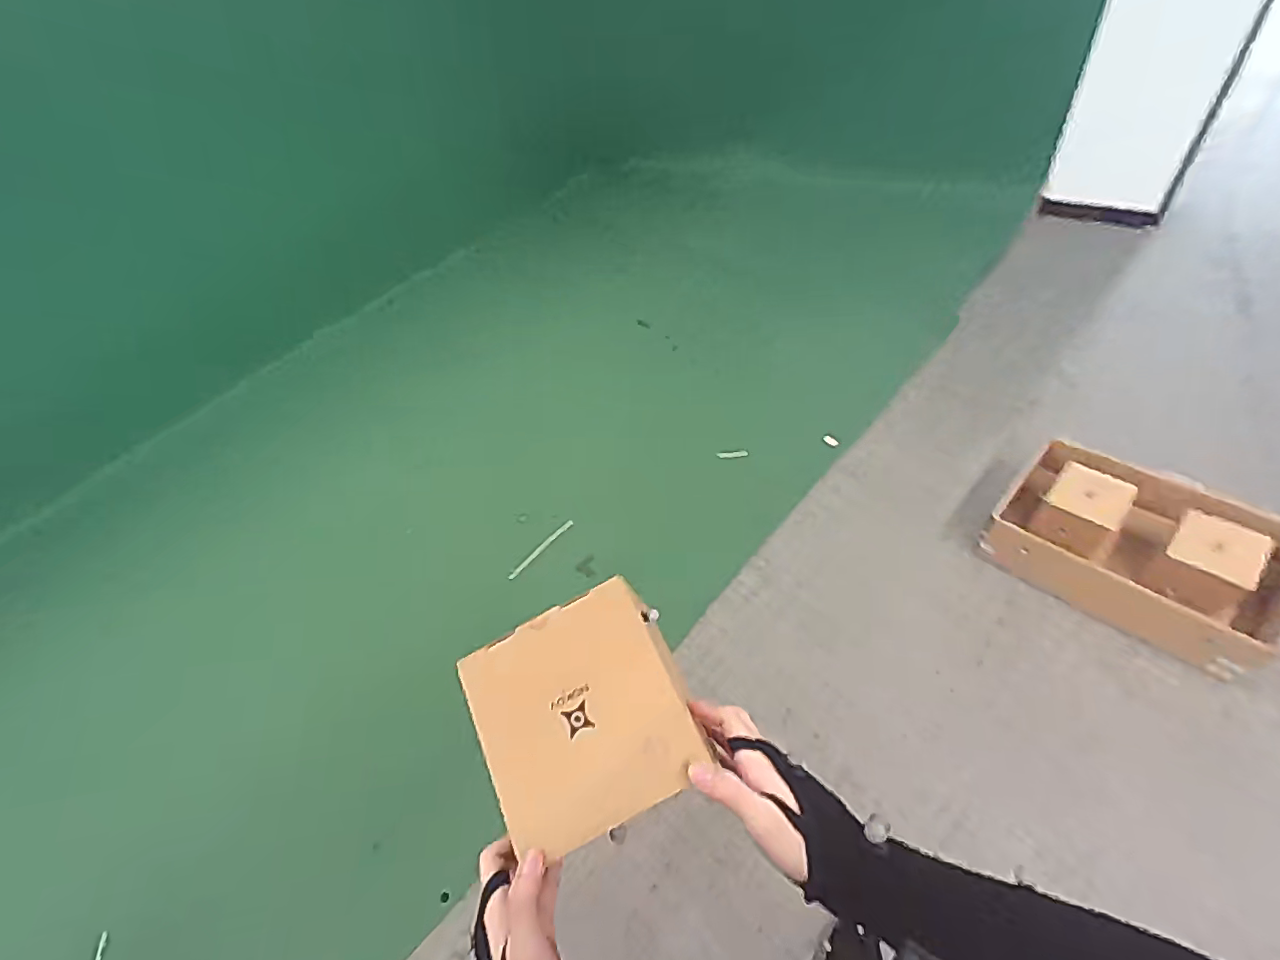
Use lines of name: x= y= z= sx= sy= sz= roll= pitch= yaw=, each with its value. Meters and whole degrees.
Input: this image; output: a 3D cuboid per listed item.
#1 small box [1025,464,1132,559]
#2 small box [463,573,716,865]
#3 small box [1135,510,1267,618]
small box: x=1.244 y=0.094 z=1.550 sx=0.168 sy=0.176 sz=0.179 roll=33 pitch=65 yaw=33
small box: x=-0.036 y=0.216 z=0.514 sx=0.168 sy=0.176 sz=0.179 roll=-27 pitch=64 yaw=-2
small box: x=1.437 y=0.218 z=1.397 sx=0.168 sy=0.176 sz=0.179 roll=32 pitch=66 yaw=35
